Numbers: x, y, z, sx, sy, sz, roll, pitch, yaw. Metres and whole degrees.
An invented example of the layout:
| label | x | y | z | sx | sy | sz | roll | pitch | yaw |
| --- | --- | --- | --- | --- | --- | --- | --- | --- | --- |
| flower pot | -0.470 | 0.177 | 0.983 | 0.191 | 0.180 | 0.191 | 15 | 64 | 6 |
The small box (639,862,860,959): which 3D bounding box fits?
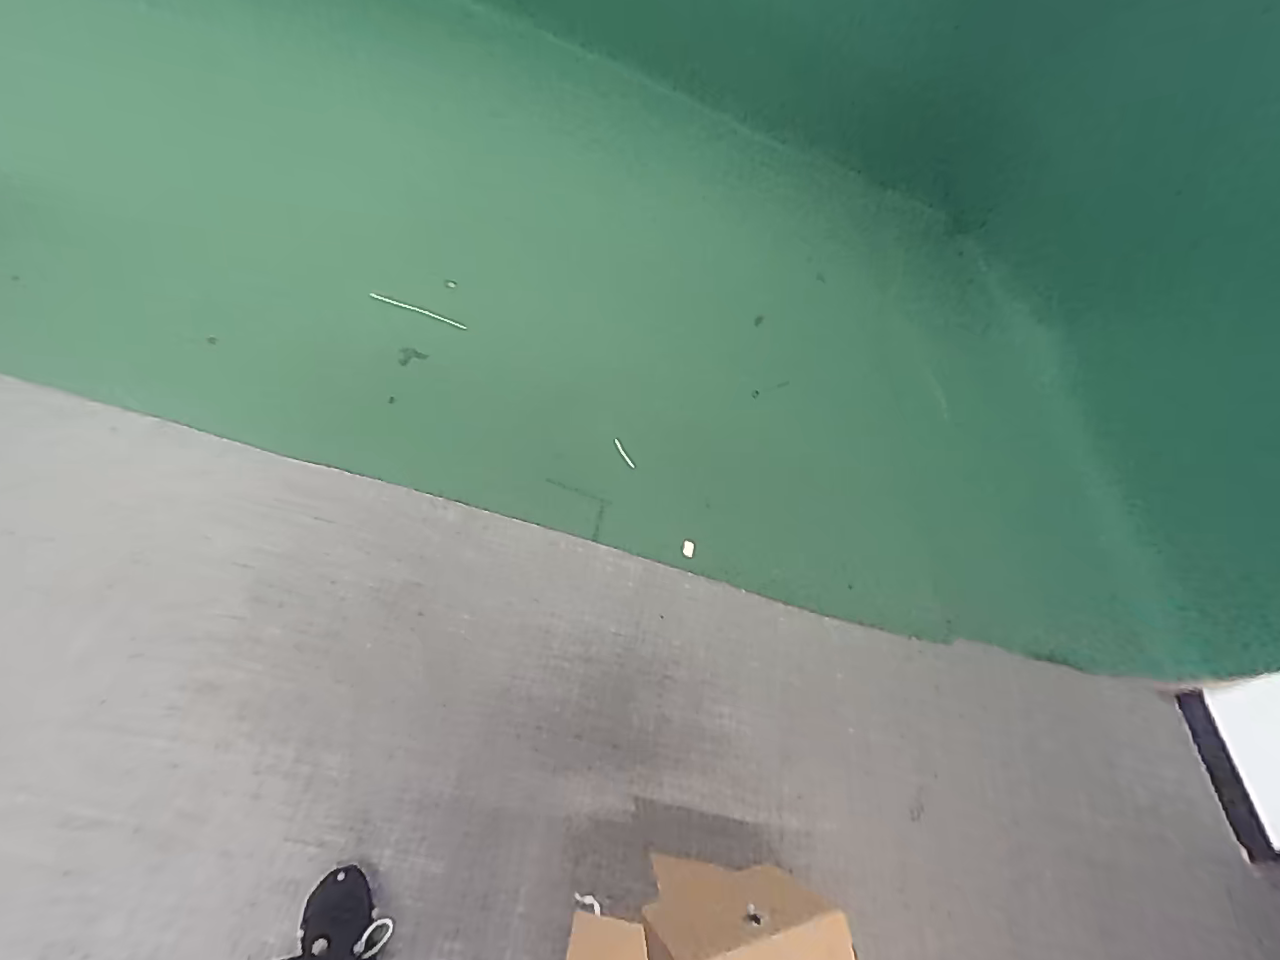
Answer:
| label | x | y | z | sx | sy | sz | roll | pitch | yaw |
| --- | --- | --- | --- | --- | --- | --- | --- | --- | --- |
| small box | 0.114 | 0.520 | 0.547 | 0.179 | 0.176 | 0.168 | -7 | 70 | -17 |
